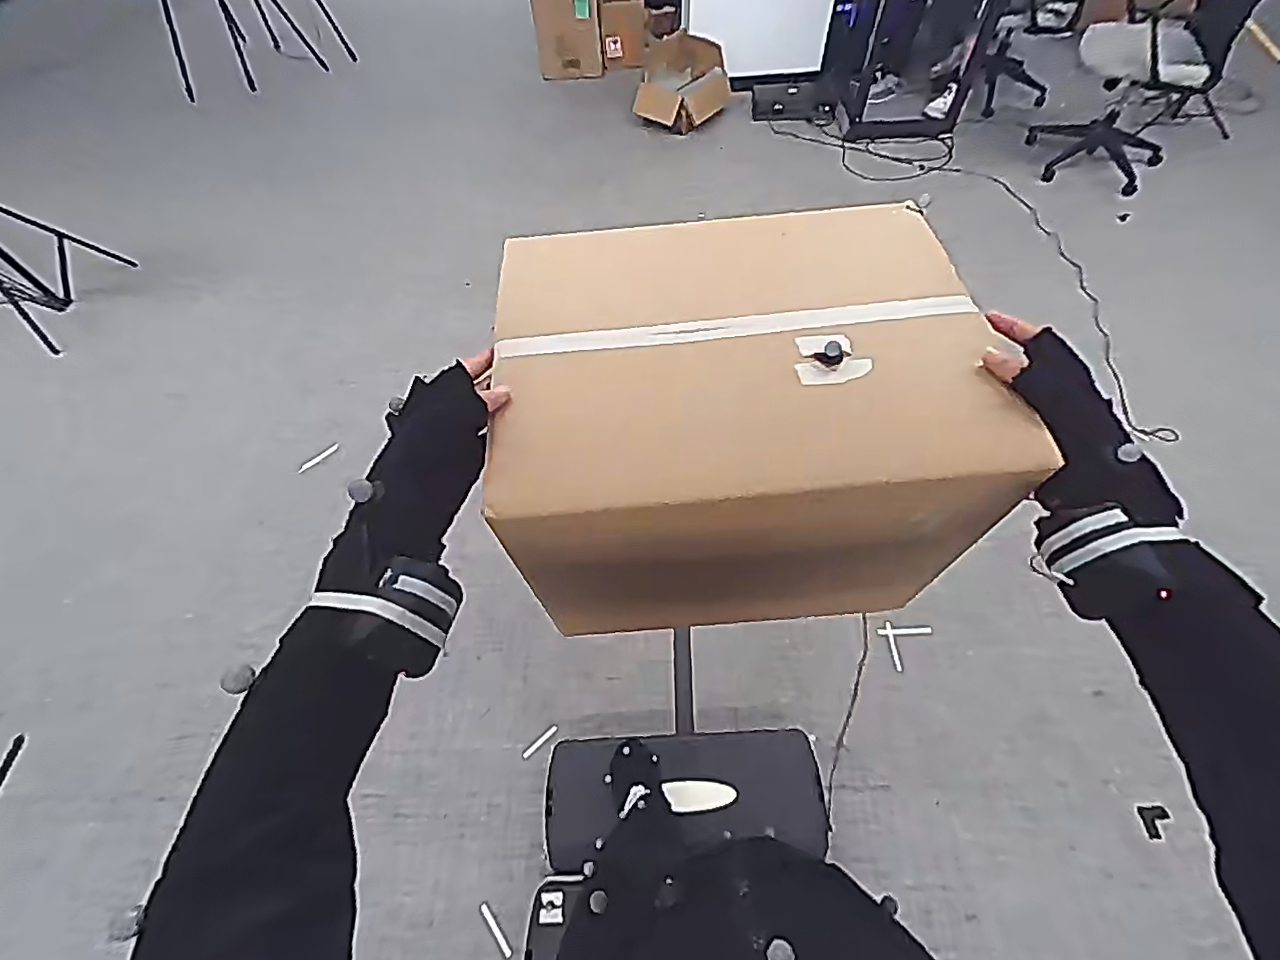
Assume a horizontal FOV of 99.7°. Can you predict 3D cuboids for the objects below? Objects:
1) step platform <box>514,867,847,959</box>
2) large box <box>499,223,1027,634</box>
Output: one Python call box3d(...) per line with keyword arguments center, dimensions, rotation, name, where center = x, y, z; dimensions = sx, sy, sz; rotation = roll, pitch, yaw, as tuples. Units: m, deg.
box3d(center=(0.082, 1.004, 1.136), dimensions=(0.684, 0.204, 0.286), rotation=(-3, 57, 2), name="step platform")
box3d(center=(0.085, -0.039, 0.601), dimensions=(0.408, 0.320, 0.320), rotation=(-5, 59, 0), name="large box")
